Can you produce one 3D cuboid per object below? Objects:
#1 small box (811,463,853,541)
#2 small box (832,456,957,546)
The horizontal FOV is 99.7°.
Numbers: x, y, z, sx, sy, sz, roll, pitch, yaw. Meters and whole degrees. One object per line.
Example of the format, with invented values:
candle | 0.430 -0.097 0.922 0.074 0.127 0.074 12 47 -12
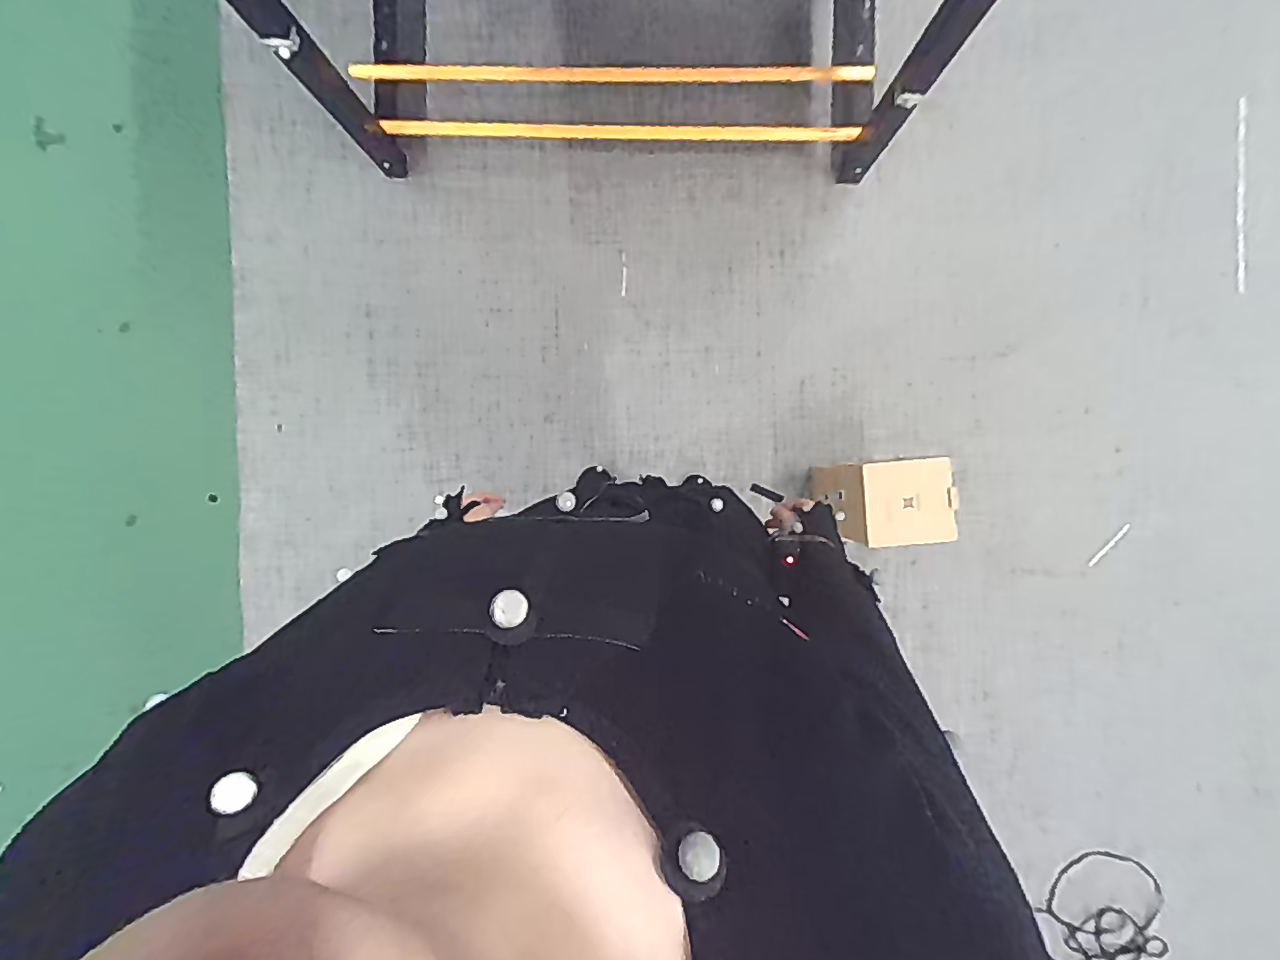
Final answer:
small box | 0.516 0.045 1.286 0.168 0.176 0.179 -6 91 1
small box | 0.520 0.038 1.122 0.179 0.176 0.168 -6 91 1
